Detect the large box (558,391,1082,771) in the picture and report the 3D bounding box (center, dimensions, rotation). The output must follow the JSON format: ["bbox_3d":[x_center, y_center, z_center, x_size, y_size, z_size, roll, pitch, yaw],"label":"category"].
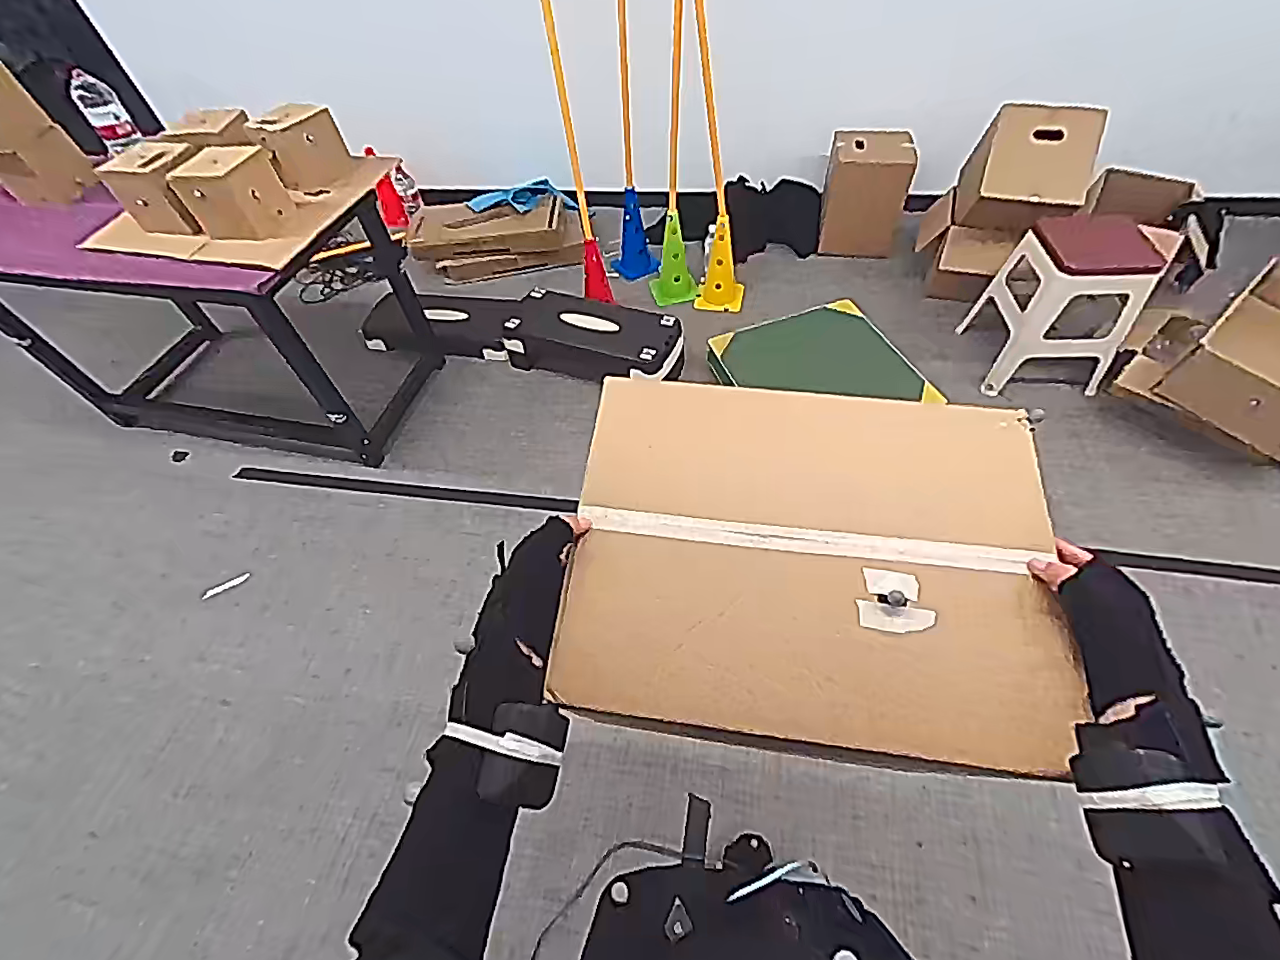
[{"bbox_3d":[0.151,0.126,0.609,0.408,0.320,0.320,6,65,5],"label":"large box"}]
